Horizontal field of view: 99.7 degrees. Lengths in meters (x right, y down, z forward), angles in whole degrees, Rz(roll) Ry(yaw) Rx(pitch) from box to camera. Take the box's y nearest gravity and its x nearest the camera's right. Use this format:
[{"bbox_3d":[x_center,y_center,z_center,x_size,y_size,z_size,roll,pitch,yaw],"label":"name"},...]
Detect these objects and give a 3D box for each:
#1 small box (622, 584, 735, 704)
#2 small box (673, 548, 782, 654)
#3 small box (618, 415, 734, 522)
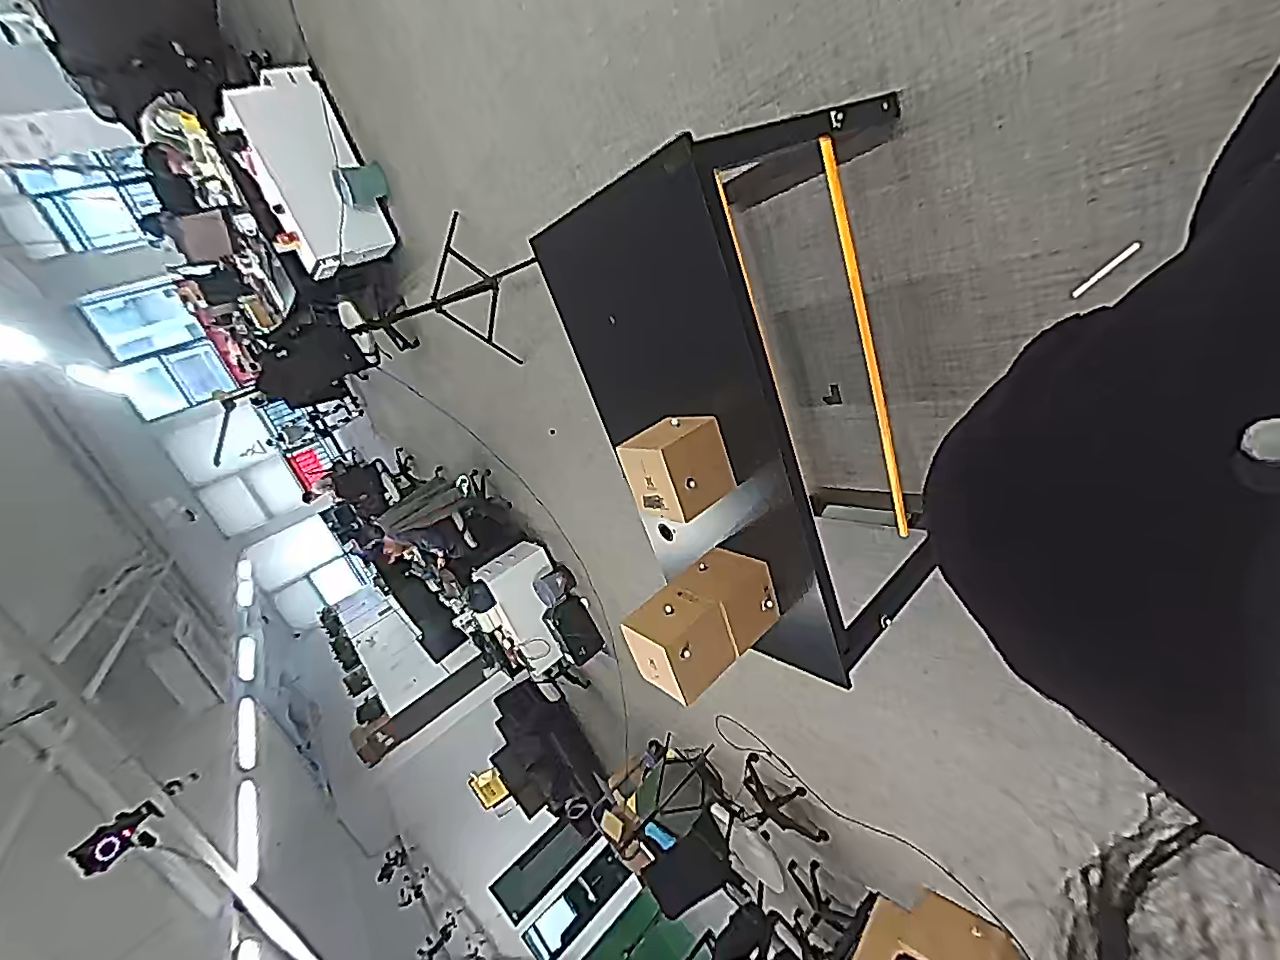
[{"bbox_3d":[0.093,0.369,1.252,0.168,0.176,0.179,12,129,53],"label":"small box"},{"bbox_3d":[0.216,0.286,1.325,0.179,0.176,0.168,10,128,51],"label":"small box"},{"bbox_3d":[0.086,-0.031,1.209,0.168,0.176,0.179,8,124,53],"label":"small box"}]
